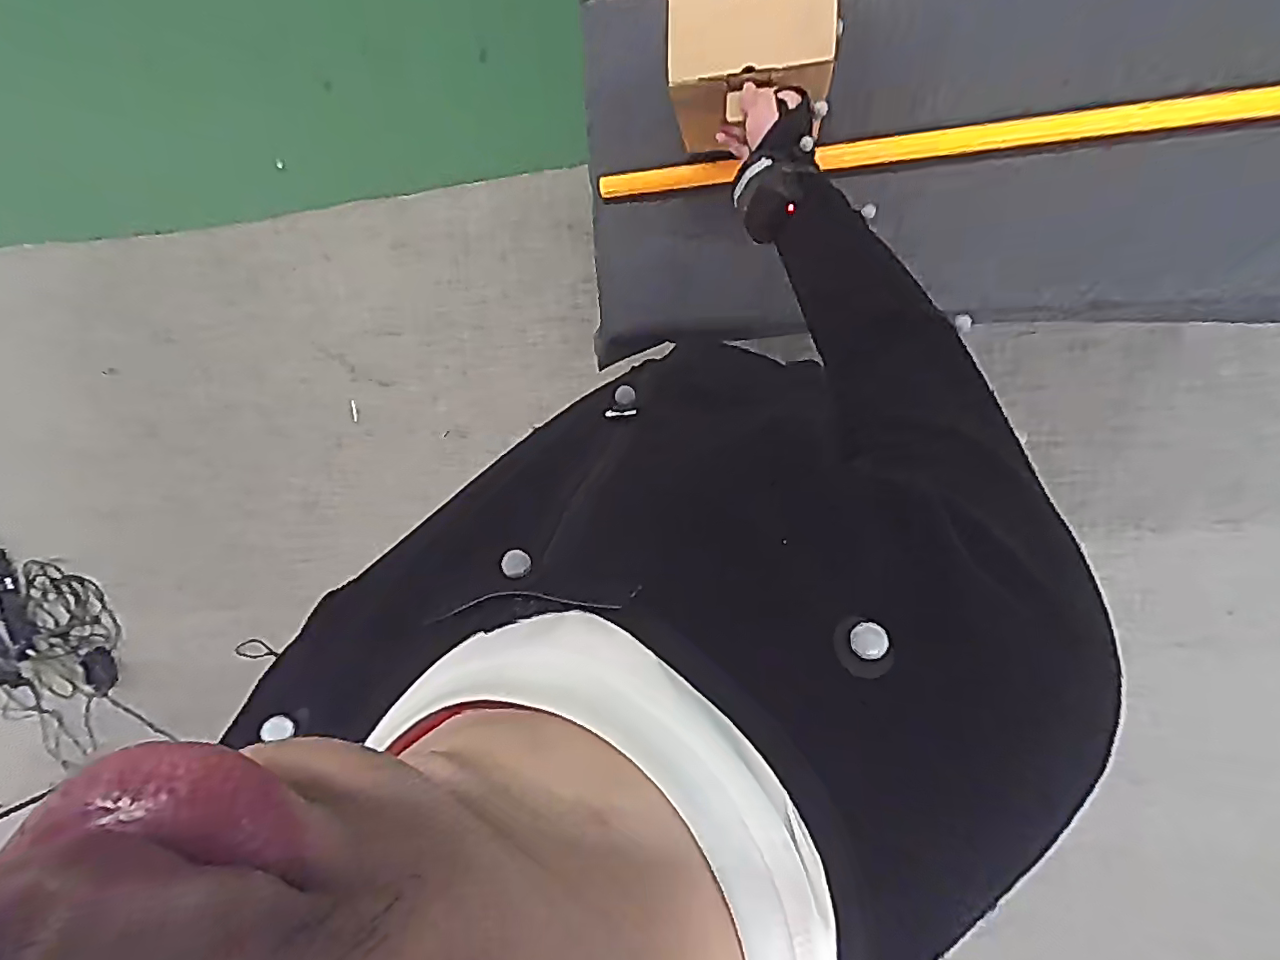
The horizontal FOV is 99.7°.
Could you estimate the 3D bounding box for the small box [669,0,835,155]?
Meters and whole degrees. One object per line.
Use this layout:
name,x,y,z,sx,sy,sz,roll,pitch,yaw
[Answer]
small box,0.129,-0.497,0.616,0.168,0.176,0.179,-1,98,14
